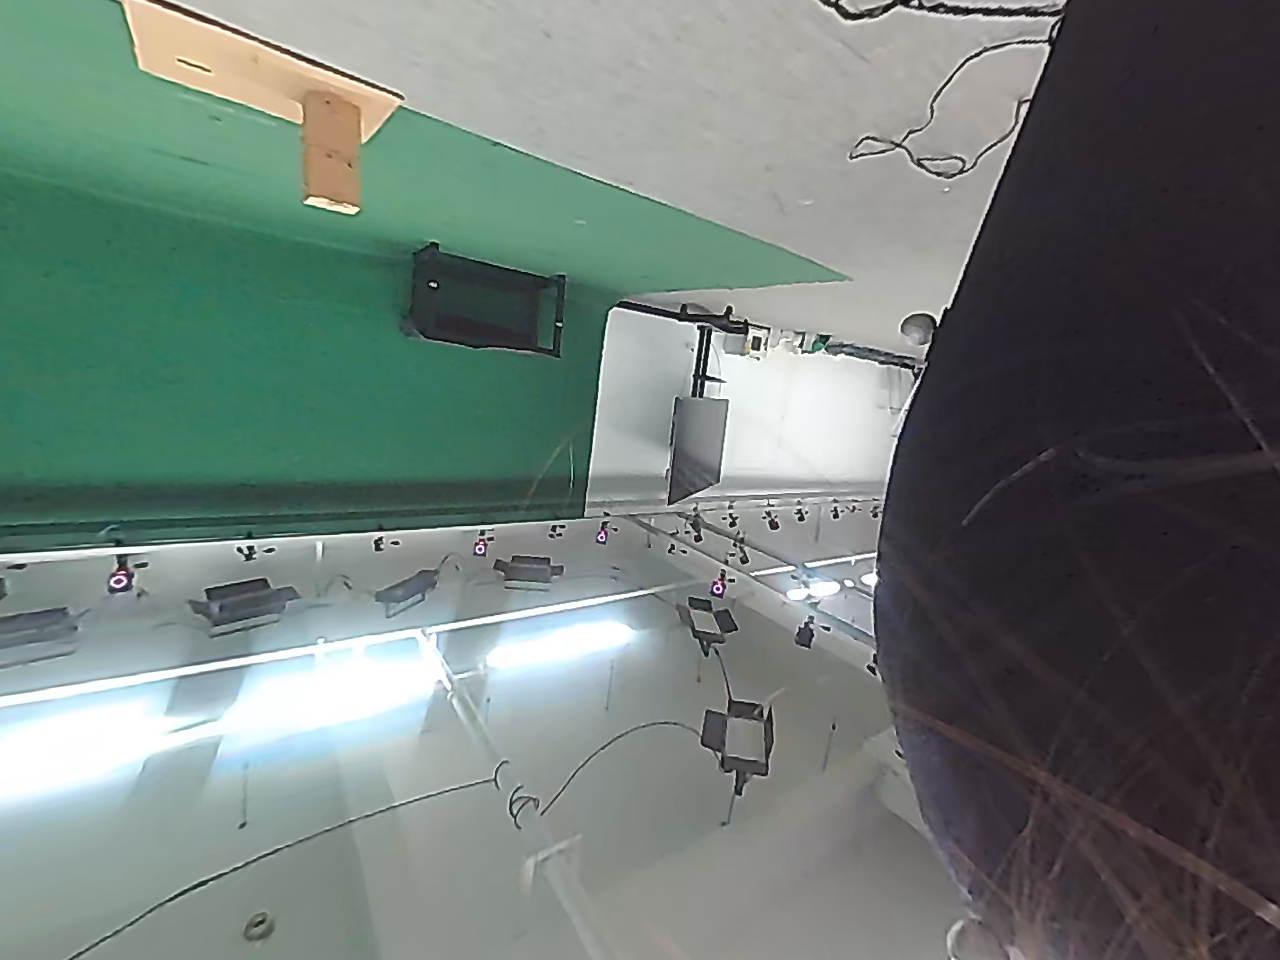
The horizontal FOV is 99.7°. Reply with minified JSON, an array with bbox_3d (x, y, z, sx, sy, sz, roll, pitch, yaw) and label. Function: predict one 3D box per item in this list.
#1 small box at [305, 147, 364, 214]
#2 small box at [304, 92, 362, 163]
[{"bbox_3d":[-1.131,-1.101,1.993,0.168,0.176,0.179,-3,-164,-39],"label":"small box"},{"bbox_3d":[-1.112,-1.261,1.959,0.168,0.176,0.179,-3,-165,-37],"label":"small box"}]
